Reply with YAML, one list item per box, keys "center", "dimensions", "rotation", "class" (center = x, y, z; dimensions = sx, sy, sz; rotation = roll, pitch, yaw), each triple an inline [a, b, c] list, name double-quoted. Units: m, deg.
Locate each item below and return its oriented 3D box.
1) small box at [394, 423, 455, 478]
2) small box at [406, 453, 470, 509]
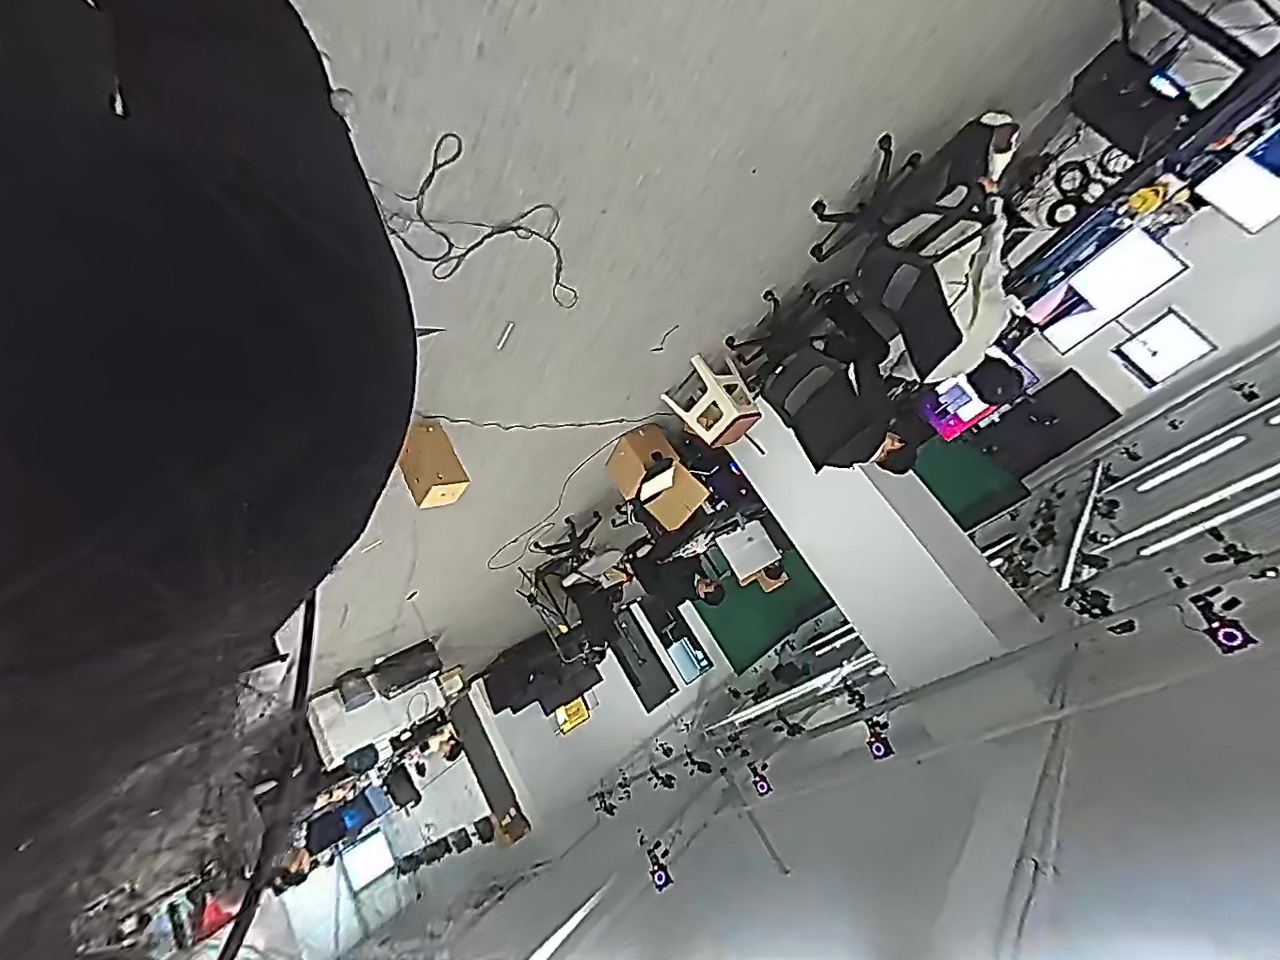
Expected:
- center: [-0.943, -0.129, 2.351]
  dimensions: [0.179, 0.176, 0.168]
  rotation: [-44, 160, 30]
  class: "small box"
- center: [-0.861, 0.001, 2.291]
  dimensions: [0.179, 0.176, 0.168]
  rotation: [-11, 153, -52]
  class: "small box"
